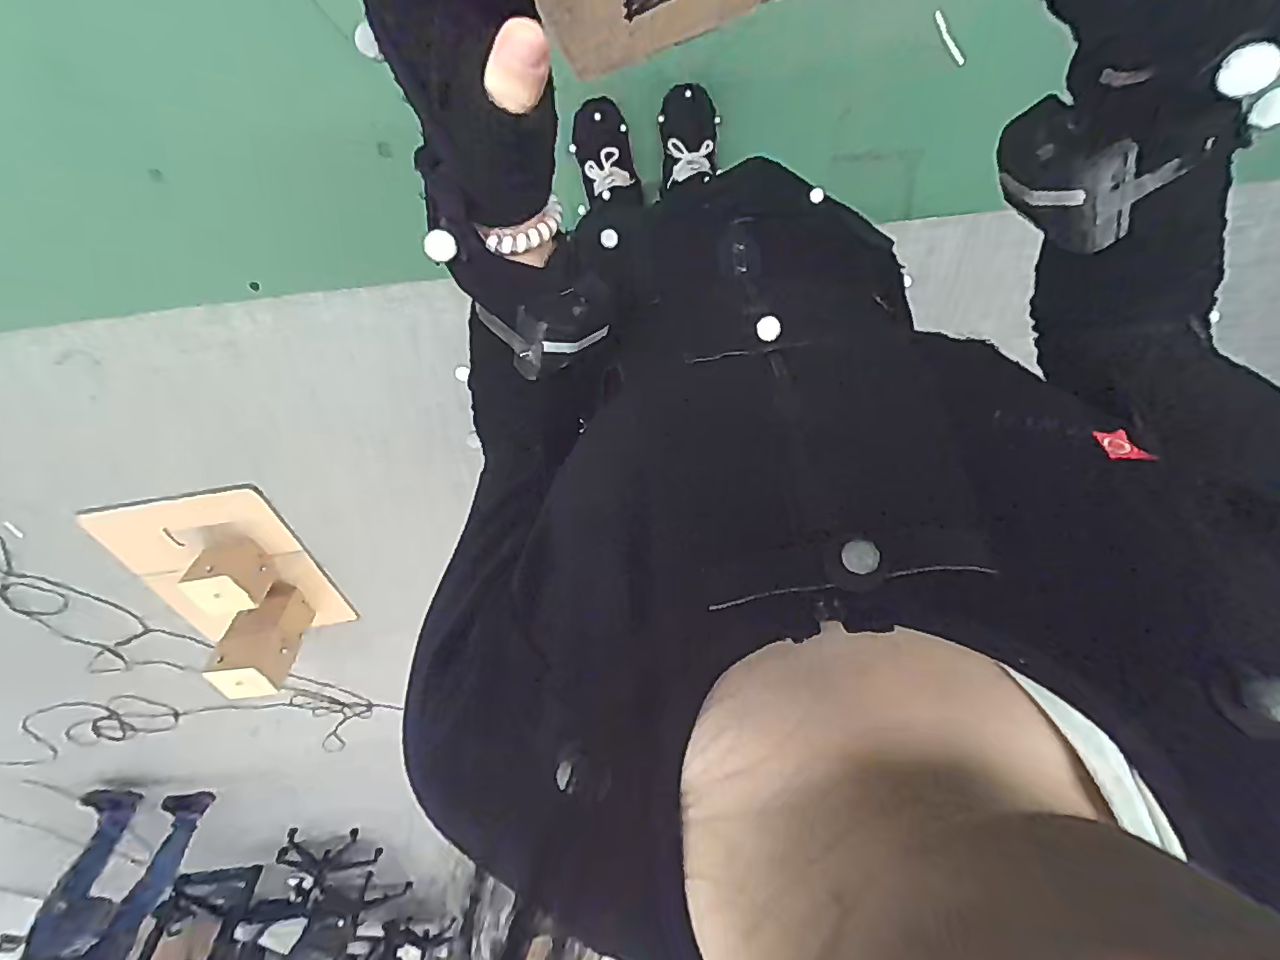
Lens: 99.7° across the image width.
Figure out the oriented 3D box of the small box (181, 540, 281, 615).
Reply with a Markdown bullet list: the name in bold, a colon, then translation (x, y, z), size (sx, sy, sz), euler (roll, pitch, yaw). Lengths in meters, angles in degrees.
- **small box**: translation (-1.358, 0.323, 1.810), size (0.179, 0.176, 0.168), euler (-11, 128, 3)

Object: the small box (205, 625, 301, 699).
- **small box**: translation (-1.303, 0.615, 1.835), size (0.179, 0.176, 0.168), euler (-7, 130, 1)
